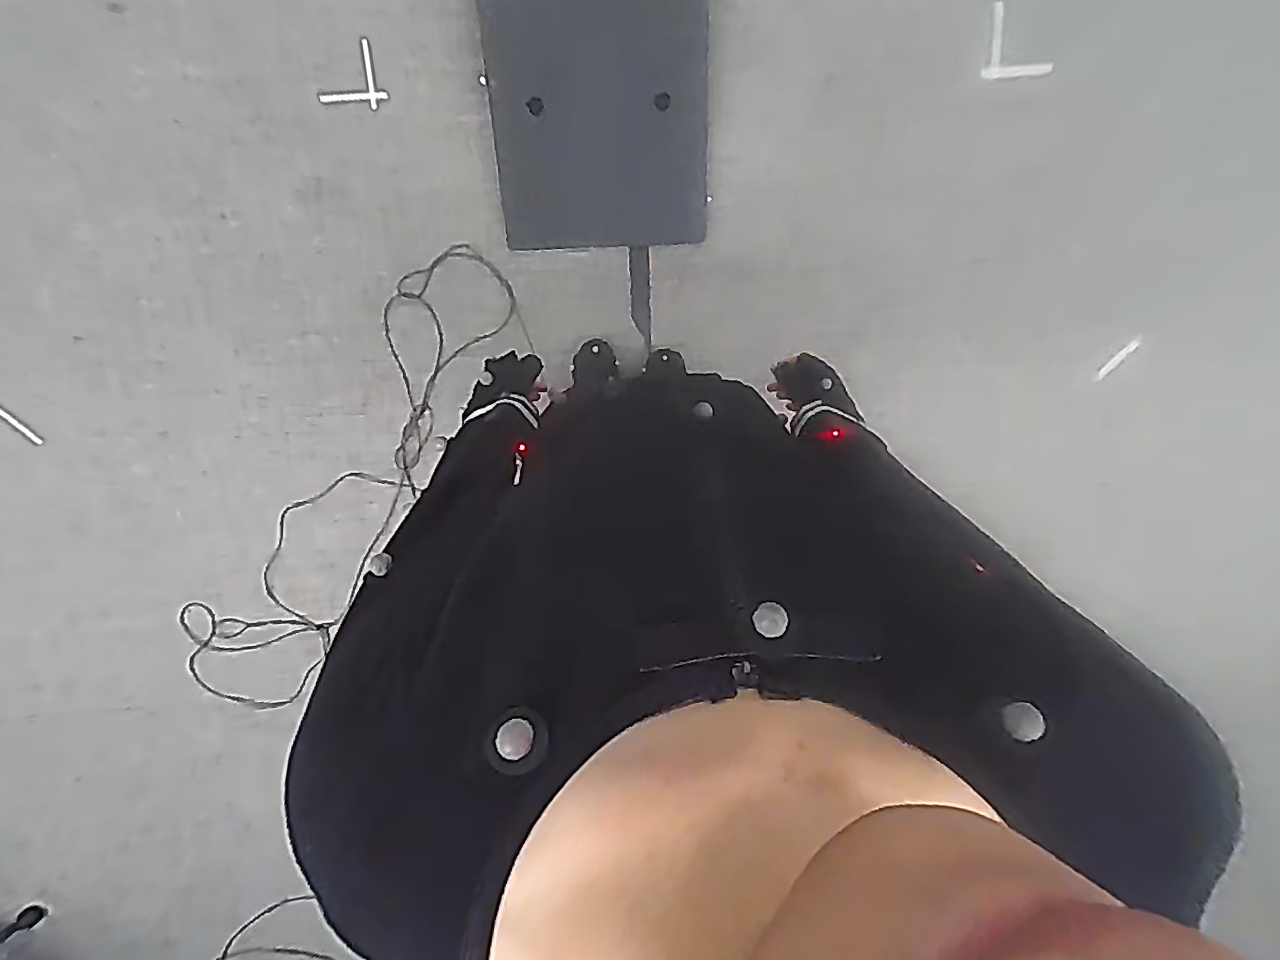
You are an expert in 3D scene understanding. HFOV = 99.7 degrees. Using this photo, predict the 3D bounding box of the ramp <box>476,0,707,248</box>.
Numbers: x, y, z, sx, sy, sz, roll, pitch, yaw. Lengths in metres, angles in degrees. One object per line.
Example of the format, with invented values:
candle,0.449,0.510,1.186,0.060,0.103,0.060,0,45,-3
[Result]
ramp,-0.100,-1.039,1.131,0.509,0.206,0.991,-6,105,-3
